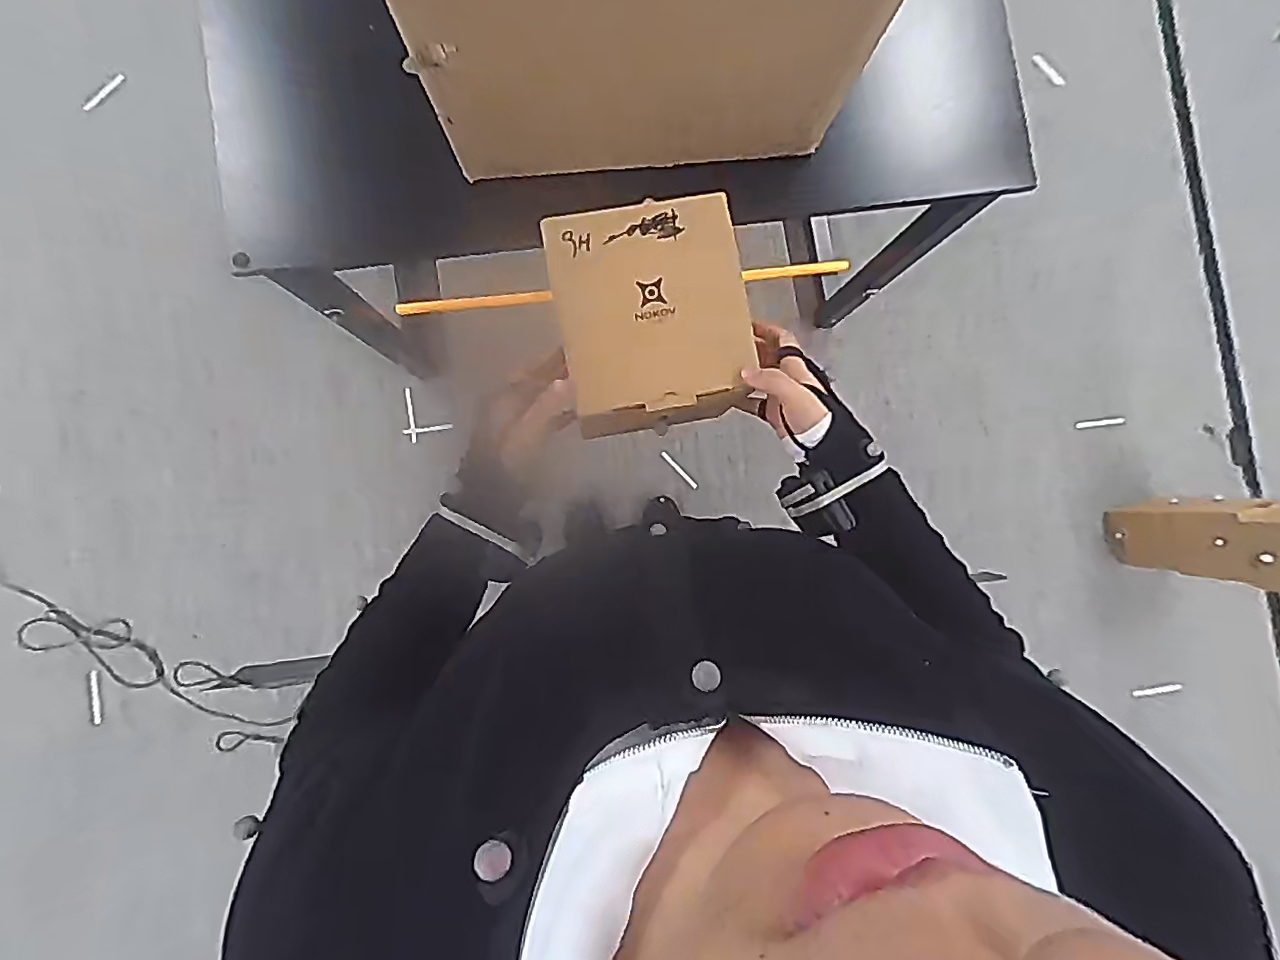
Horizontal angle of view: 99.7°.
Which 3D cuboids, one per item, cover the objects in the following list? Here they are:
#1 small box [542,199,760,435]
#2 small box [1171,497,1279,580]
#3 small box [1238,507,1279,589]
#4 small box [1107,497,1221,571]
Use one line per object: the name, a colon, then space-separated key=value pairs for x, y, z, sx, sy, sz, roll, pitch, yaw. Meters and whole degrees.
small box: x=0.006 y=-0.144 z=0.540 sx=0.168 sy=0.176 sz=0.179 roll=-10 pitch=90 yaw=-4
small box: x=1.493 y=0.143 z=1.352 sx=0.168 sy=0.176 sz=0.179 roll=-12 pitch=89 yaw=-3
small box: x=1.499 y=0.145 z=1.186 sx=0.179 sy=0.176 sz=0.168 roll=-16 pitch=88 yaw=-4
small box: x=1.480 y=0.146 z=1.516 sx=0.179 sy=0.176 sz=0.168 roll=-15 pitch=88 yaw=-3
